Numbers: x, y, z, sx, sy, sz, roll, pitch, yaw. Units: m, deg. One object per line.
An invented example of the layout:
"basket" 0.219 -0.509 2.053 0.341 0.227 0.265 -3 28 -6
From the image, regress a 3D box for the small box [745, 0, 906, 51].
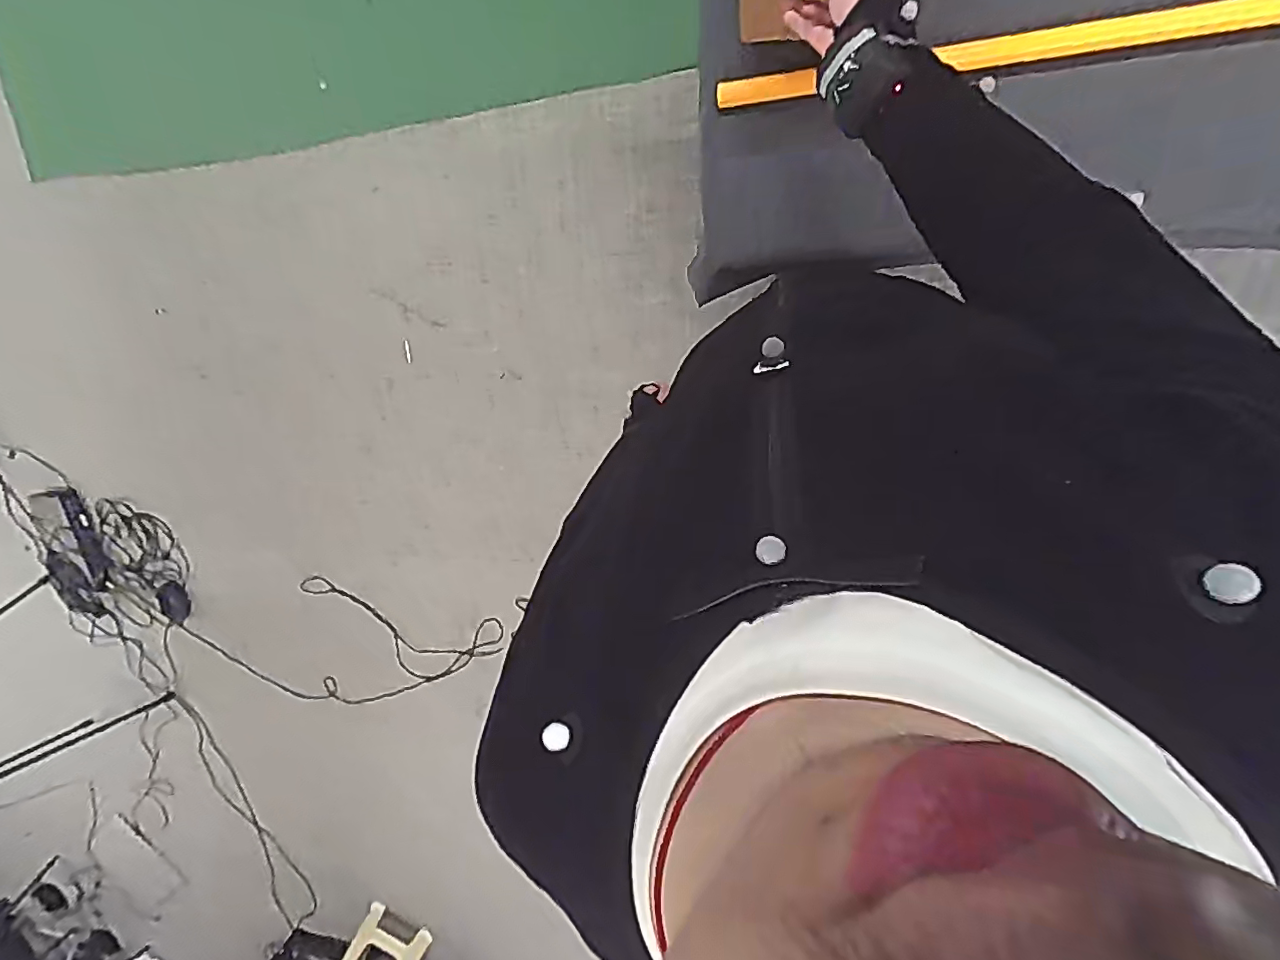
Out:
"small box" 0.192 -0.567 0.539 0.168 0.176 0.179 2 105 13
